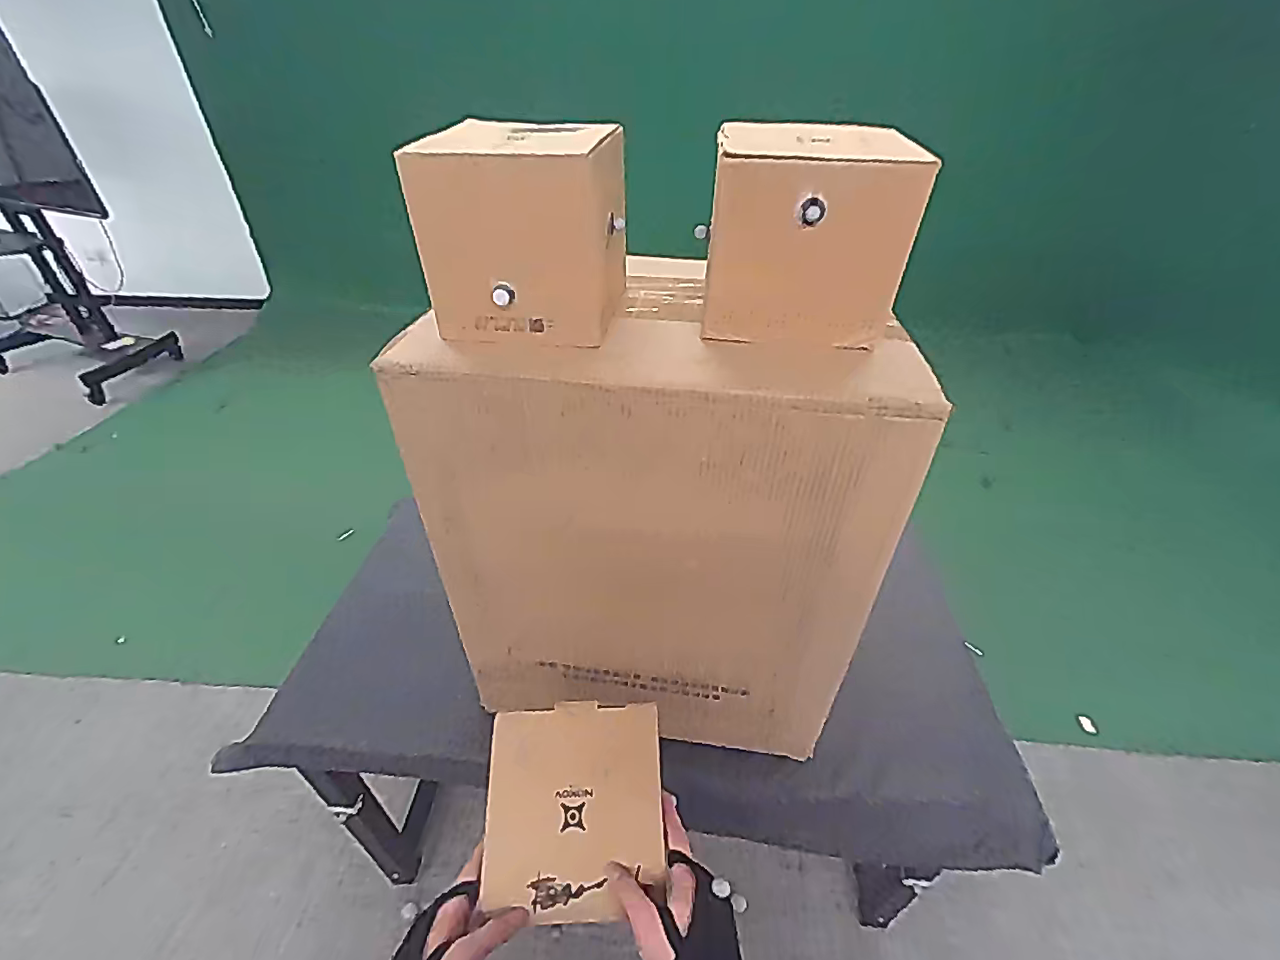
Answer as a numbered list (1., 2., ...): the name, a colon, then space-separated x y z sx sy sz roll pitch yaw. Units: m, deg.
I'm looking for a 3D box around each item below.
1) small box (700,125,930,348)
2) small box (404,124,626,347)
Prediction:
1. small box: 0.157 -0.249 0.554 0.179 0.176 0.168 7 41 3
2. small box: -0.108 -0.255 0.558 0.168 0.176 0.179 5 41 6
